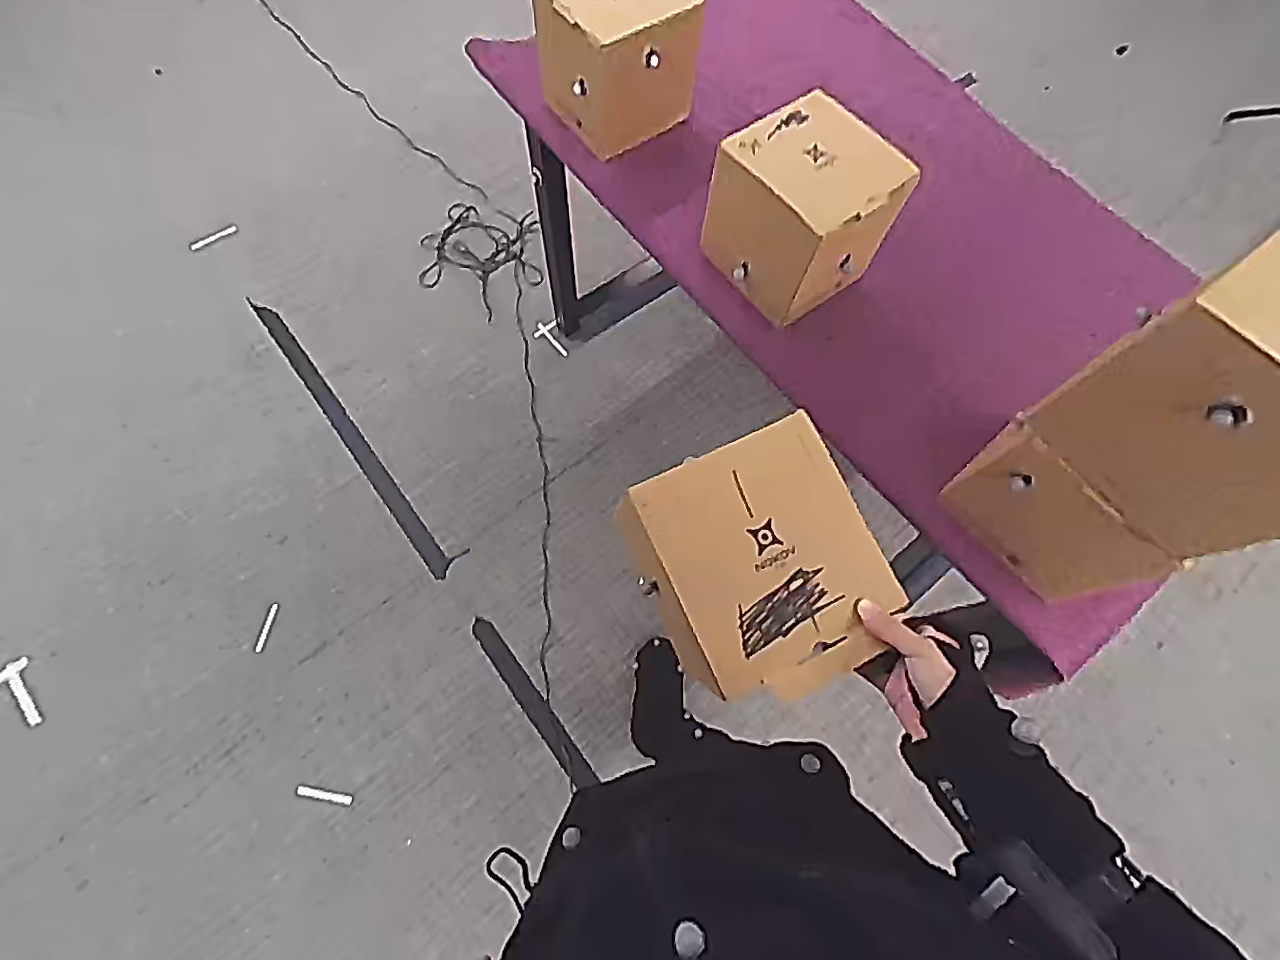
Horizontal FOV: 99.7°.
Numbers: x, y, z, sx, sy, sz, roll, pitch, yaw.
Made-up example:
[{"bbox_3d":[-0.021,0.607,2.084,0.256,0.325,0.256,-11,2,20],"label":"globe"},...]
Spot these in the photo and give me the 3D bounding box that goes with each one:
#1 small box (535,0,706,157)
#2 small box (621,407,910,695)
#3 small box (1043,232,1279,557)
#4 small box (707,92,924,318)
[{"bbox_3d":[-0.030,-0.619,0.792,0.179,0.176,0.168,-35,76,-16],"label":"small box"},{"bbox_3d":[0.093,0.063,0.491,0.168,0.176,0.179,-25,82,-11],"label":"small box"},{"bbox_3d":[0.484,-0.064,0.429,0.168,0.176,0.179,-33,74,-14],"label":"small box"},{"bbox_3d":[0.209,-0.337,0.696,0.168,0.176,0.179,-35,75,-14],"label":"small box"}]
